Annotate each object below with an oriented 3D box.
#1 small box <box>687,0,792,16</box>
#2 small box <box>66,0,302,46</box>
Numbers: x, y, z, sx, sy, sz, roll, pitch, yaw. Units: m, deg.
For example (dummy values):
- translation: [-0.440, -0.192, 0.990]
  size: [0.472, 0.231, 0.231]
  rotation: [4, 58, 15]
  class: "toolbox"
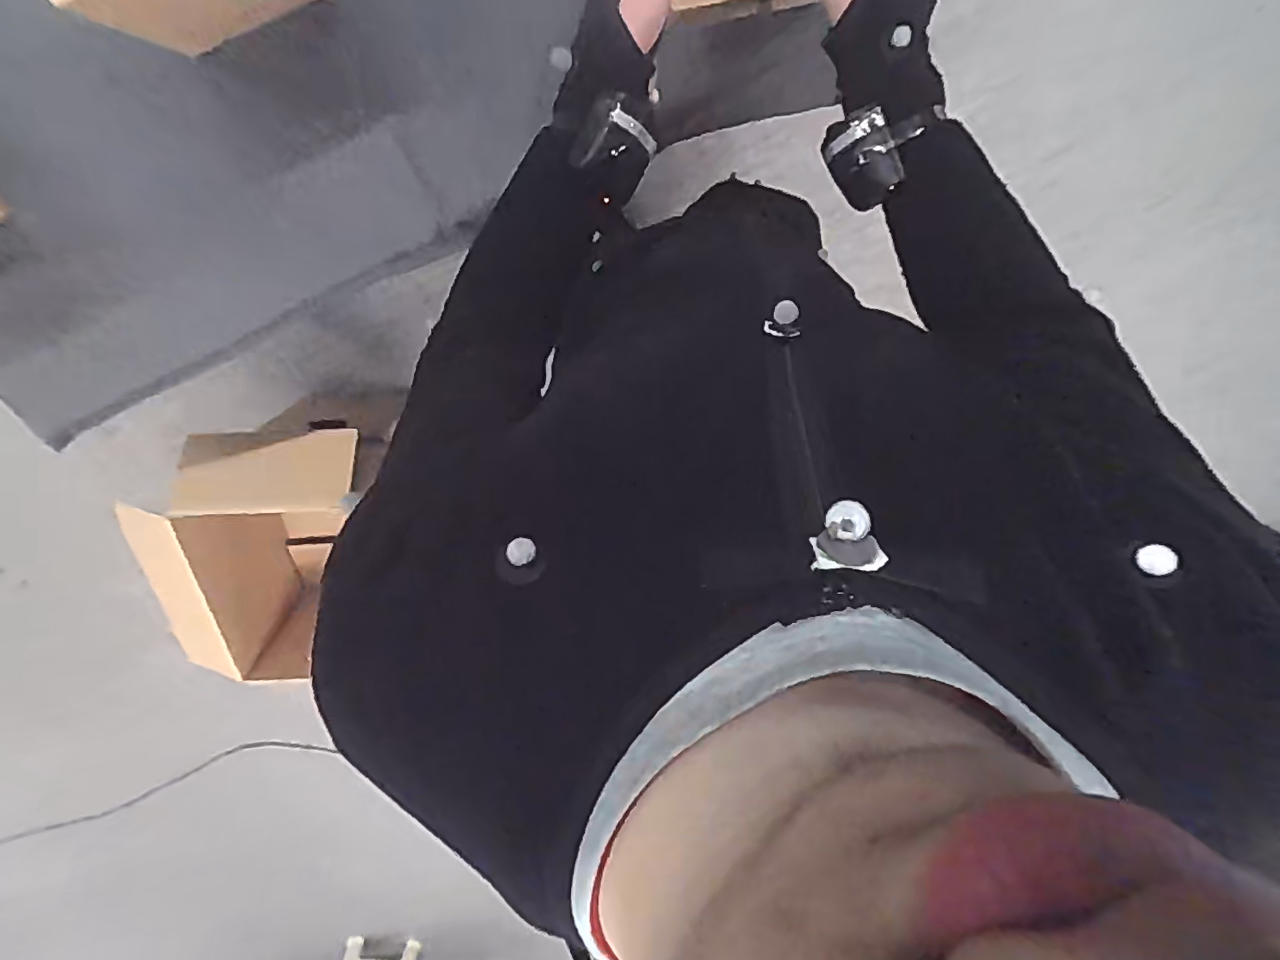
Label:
- translation: [0.113, -0.492, 0.426]
  size: [0.179, 0.176, 0.168]
  rotation: [1, 127, 14]
  class: "small box"
- translation: [-0.406, -0.507, 0.449]
  size: [0.179, 0.176, 0.168]
  rotation: [-19, 116, 6]
  class: "small box"
